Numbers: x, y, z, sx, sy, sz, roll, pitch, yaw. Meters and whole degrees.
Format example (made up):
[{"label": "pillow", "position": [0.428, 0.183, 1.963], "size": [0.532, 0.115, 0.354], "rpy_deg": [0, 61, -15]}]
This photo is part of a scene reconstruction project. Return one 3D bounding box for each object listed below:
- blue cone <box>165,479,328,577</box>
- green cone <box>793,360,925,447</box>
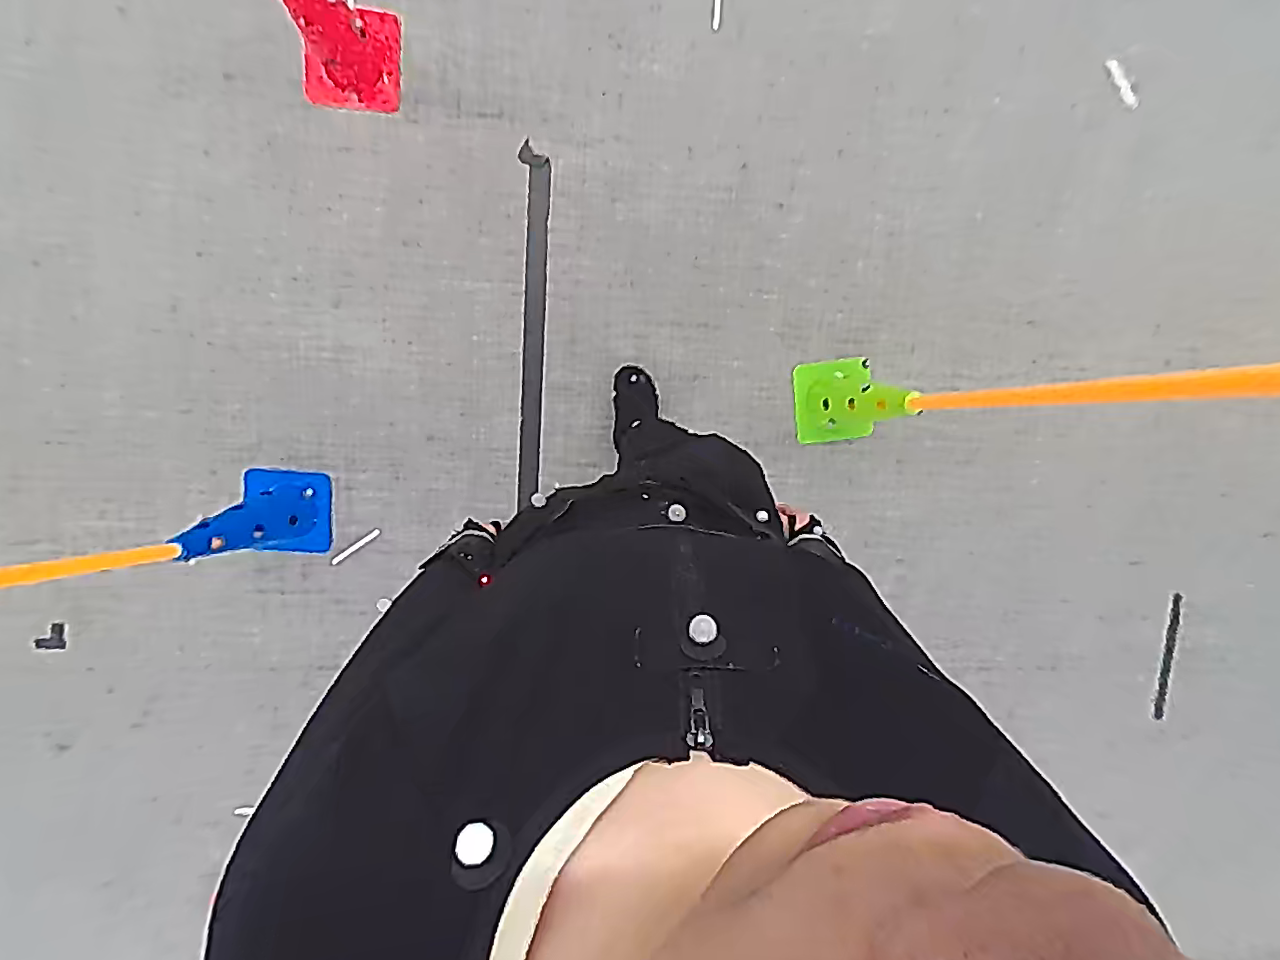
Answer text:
[{"label": "blue cone", "position": [-0.835, 0.117, 1.135], "size": [0.193, 0.380, 0.192], "rpy_deg": [5, 98, -5]}, {"label": "green cone", "position": [0.499, -0.163, 1.191], "size": [0.200, 0.368, 0.202], "rpy_deg": [-8, 100, -3]}]
